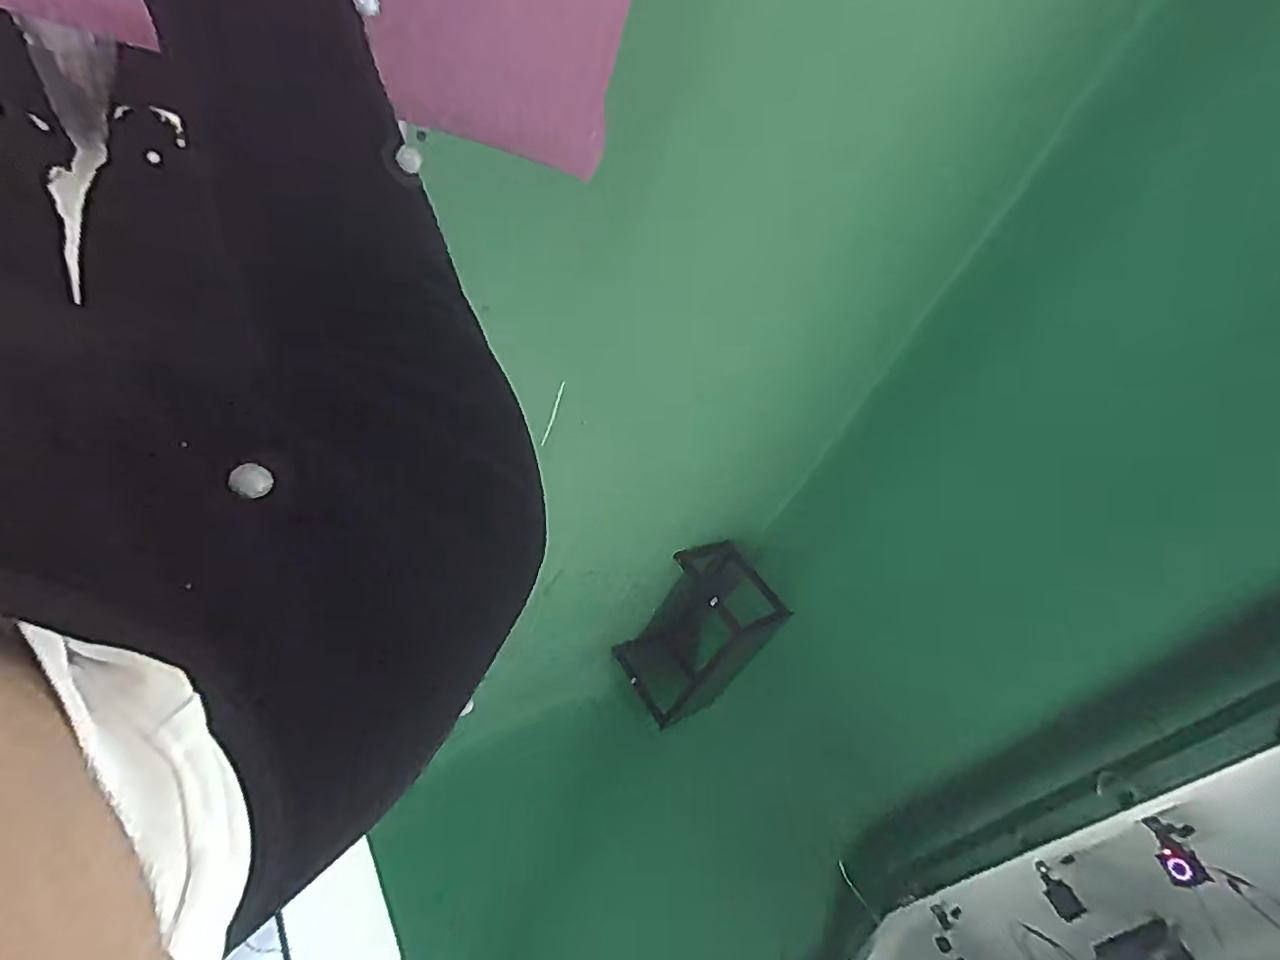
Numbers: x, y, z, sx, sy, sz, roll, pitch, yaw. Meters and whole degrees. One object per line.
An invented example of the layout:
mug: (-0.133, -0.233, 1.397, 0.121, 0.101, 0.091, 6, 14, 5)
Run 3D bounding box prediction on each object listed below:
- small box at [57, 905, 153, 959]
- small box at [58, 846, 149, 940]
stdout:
small box: (-1.398, 1.268, 1.420, 0.168, 0.176, 0.179, -9, 135, -40)
small box: (-1.494, 1.173, 1.515, 0.168, 0.176, 0.179, -7, 134, -41)
